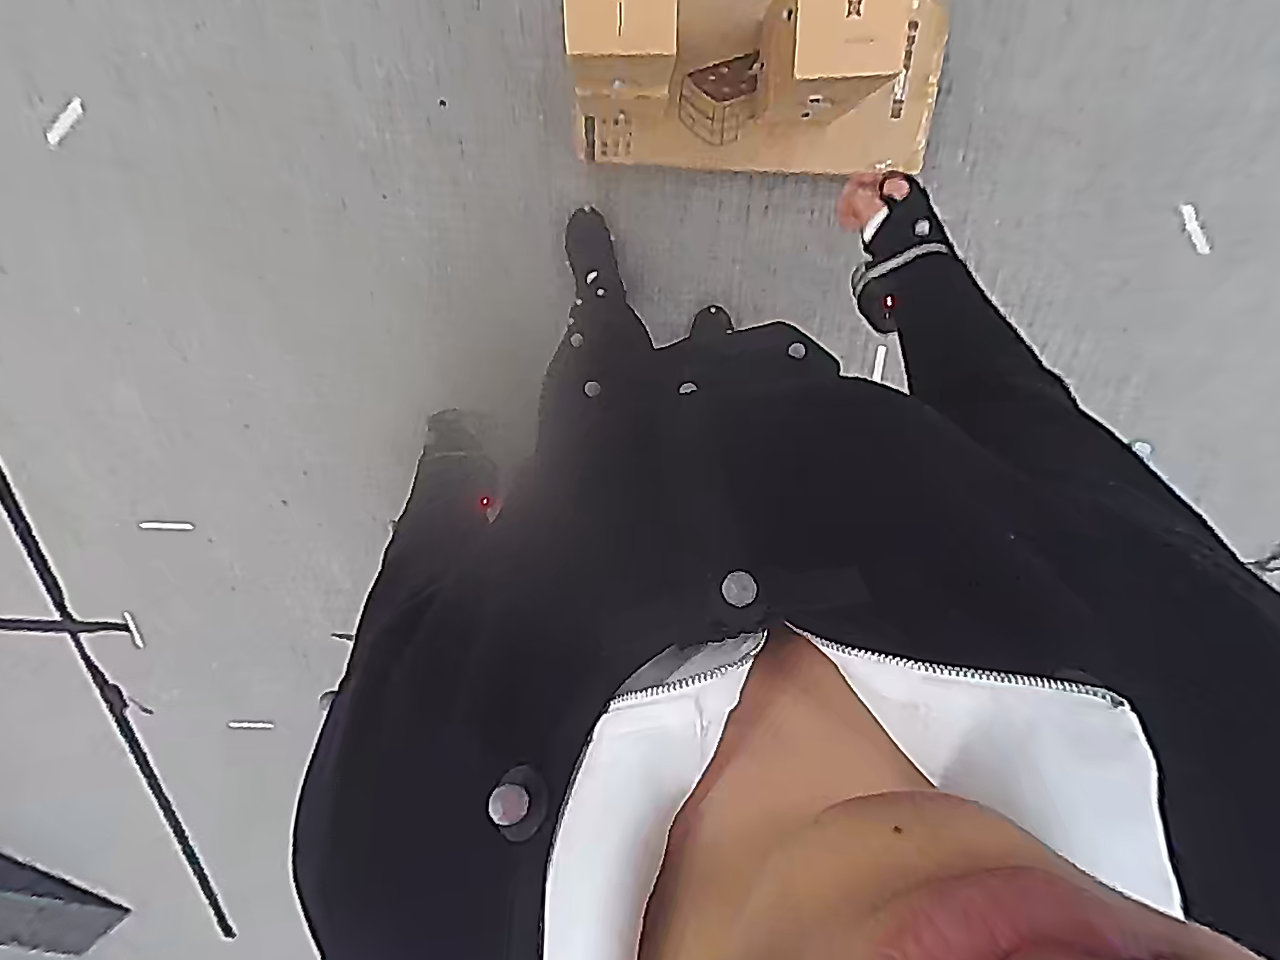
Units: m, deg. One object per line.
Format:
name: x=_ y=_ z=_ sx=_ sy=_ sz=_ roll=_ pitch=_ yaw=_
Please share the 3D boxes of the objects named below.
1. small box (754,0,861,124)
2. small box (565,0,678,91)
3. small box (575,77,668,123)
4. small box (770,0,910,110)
small box: x=0.315 y=-0.780 z=1.012 sx=0.168 sy=0.176 sz=0.179 roll=-2 pitch=114 yaw=-1
small box: x=-0.030 y=-0.734 z=0.842 sx=0.168 sy=0.176 sz=0.179 roll=-1 pitch=114 yaw=-1
small box: x=-0.033 y=-0.785 z=0.999 sx=0.168 sy=0.176 sz=0.179 roll=1 pitch=113 yaw=-2
small box: x=0.309 y=-0.717 z=0.862 sx=0.168 sy=0.176 sz=0.179 roll=-3 pitch=114 yaw=1
